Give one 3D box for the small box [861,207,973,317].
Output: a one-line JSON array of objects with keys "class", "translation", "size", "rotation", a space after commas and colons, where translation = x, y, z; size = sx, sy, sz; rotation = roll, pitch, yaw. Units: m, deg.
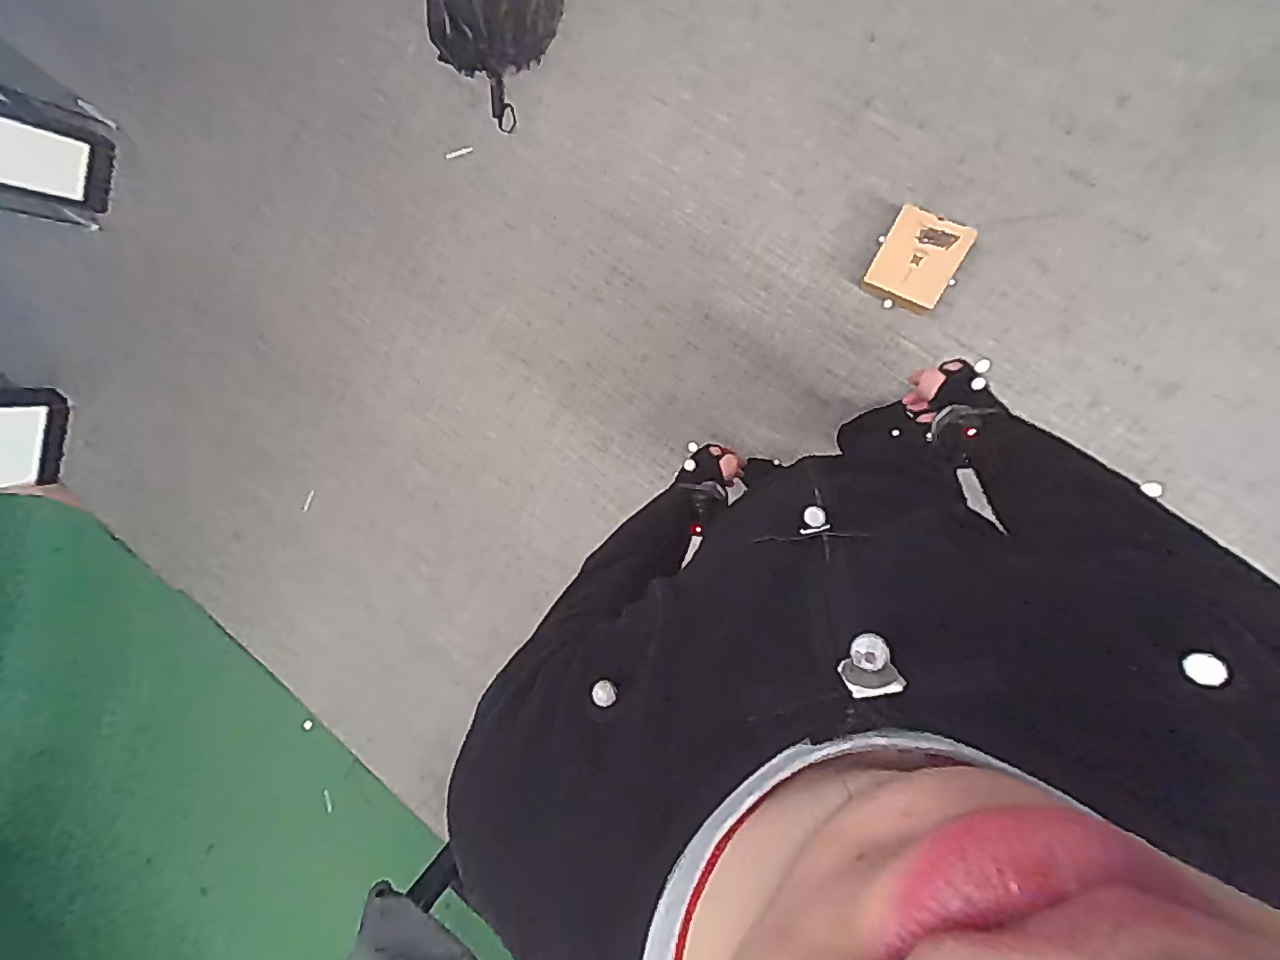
[{"class": "small box", "translation": [0.632, -0.501, 1.266], "size": [0.168, 0.176, 0.179], "rotation": [30, 109, 13]}]
